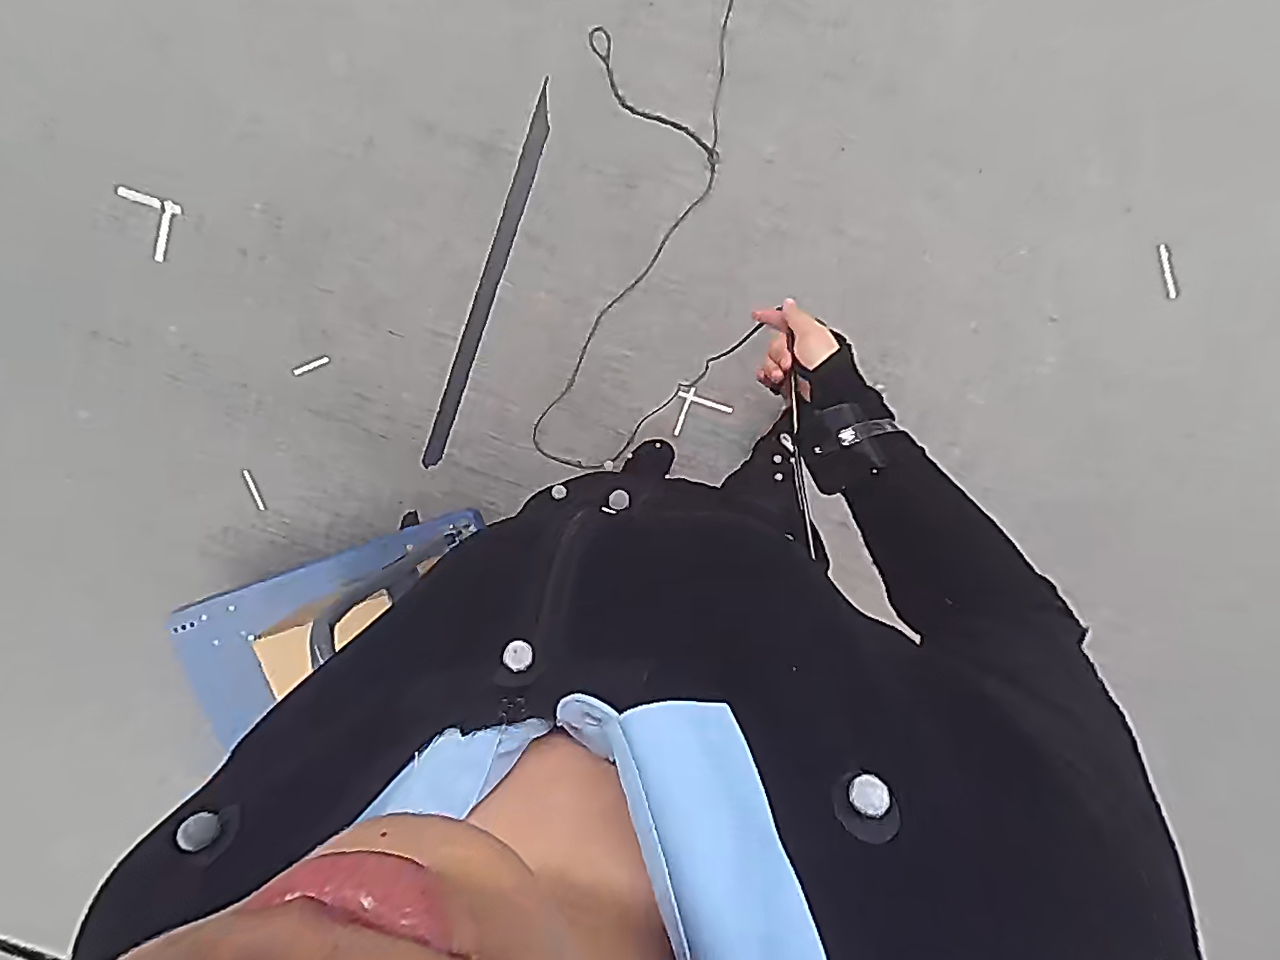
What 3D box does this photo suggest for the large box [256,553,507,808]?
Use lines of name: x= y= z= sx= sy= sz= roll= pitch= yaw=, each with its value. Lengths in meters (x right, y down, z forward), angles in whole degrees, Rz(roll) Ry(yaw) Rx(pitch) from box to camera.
large box: x=-0.552 y=0.431 z=1.234 sx=0.320 sy=0.320 sz=0.408 roll=-19 pitch=96 yaw=3
